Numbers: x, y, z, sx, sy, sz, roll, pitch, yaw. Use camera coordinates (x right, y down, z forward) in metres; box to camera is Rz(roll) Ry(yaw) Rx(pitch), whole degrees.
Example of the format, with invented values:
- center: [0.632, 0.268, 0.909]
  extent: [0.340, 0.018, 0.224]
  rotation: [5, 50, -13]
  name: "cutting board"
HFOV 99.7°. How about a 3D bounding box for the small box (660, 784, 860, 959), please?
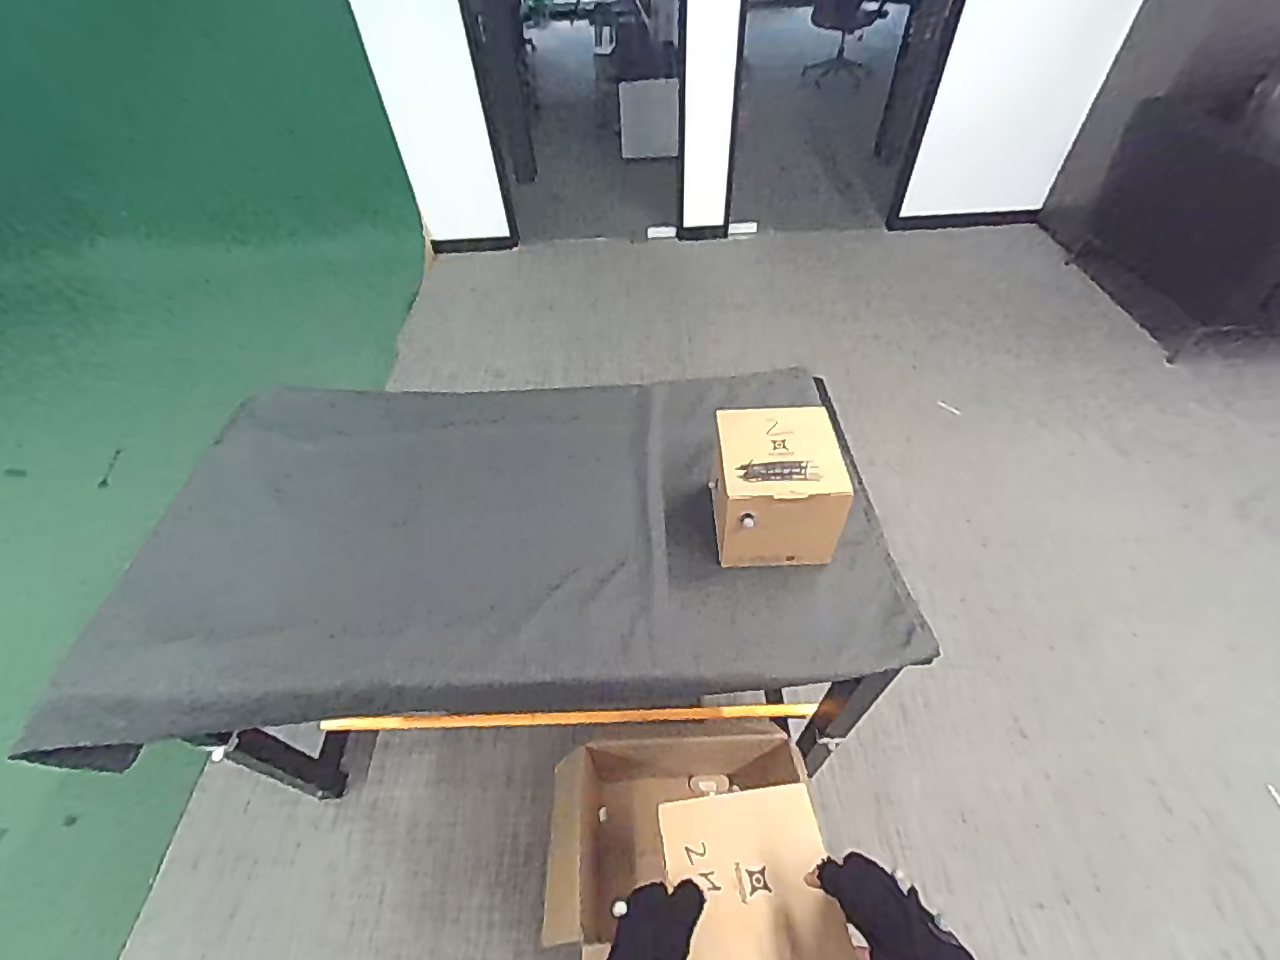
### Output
- center: [0.118, 0.468, 0.616]
  extent: [0.179, 0.176, 0.168]
  rotation: [-7, 46, -3]
  name: "small box"
